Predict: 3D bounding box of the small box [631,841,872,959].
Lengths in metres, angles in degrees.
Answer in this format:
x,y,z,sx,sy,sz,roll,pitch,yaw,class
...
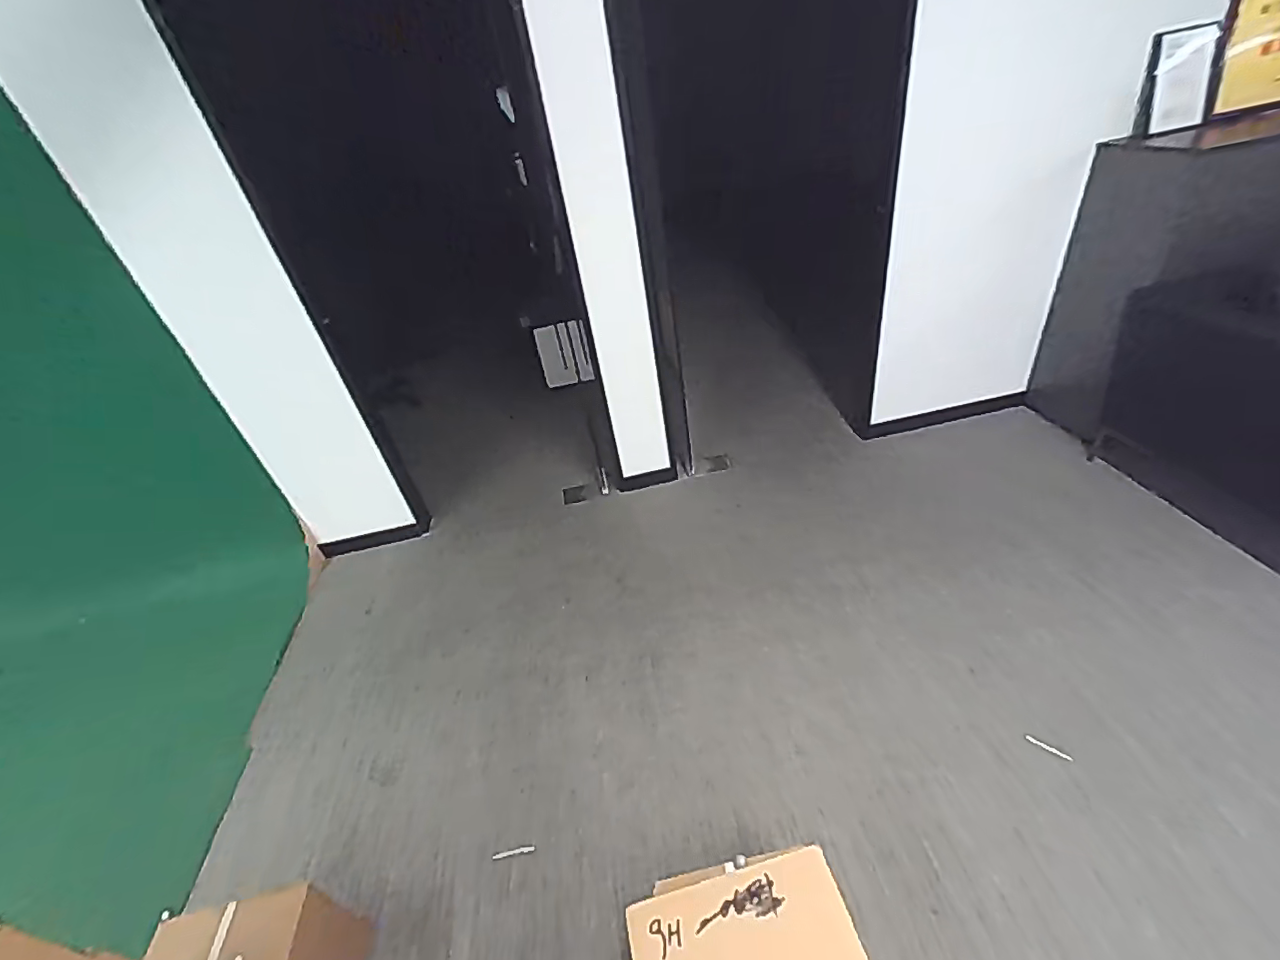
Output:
x,y,z,sx,sy,sz,roll,pitch,yaw,class
0.102,0.424,0.422,0.168,0.176,0.179,-15,41,-4,small box

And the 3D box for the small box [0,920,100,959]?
x,y,z,sx,sy,sz,roll,pitch,yaw,class
-0.881,0.685,0.695,0.179,0.176,0.168,-5,37,10,small box
